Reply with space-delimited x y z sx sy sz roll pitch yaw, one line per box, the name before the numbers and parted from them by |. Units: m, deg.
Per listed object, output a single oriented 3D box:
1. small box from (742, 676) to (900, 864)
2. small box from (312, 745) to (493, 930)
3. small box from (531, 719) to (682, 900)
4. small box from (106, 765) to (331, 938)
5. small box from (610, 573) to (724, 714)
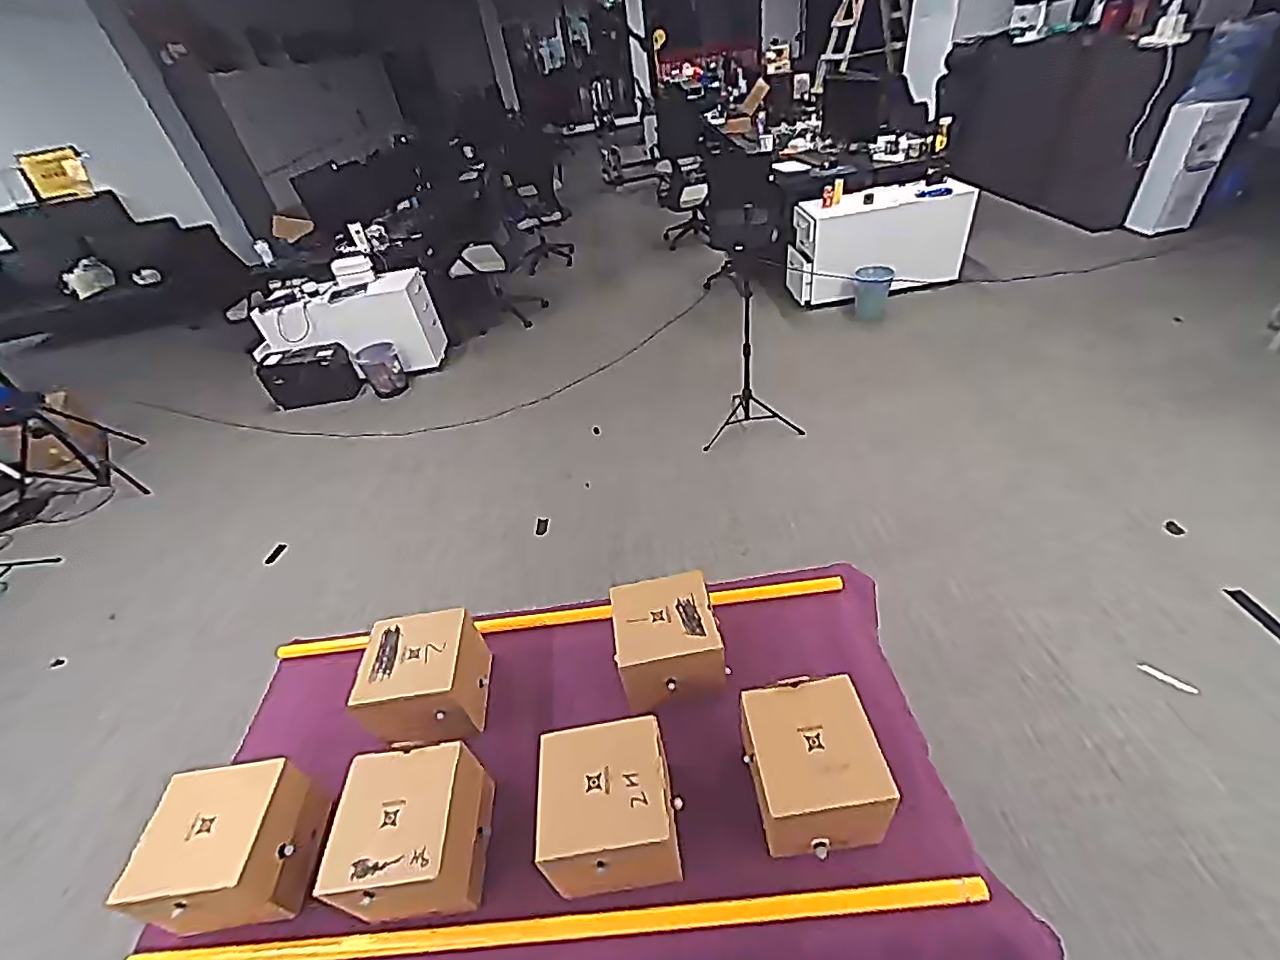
small box | 0.248 0.417 0.783 0.168 0.176 0.179 -11 38 2
small box | -0.327 0.521 0.791 0.168 0.176 0.179 -10 39 3
small box | -0.044 0.476 0.779 0.179 0.176 0.168 -10 38 2
small box | -0.605 0.556 0.810 0.179 0.176 0.168 -9 39 0
small box | 0.050 0.296 0.974 0.179 0.176 0.168 -12 41 0
